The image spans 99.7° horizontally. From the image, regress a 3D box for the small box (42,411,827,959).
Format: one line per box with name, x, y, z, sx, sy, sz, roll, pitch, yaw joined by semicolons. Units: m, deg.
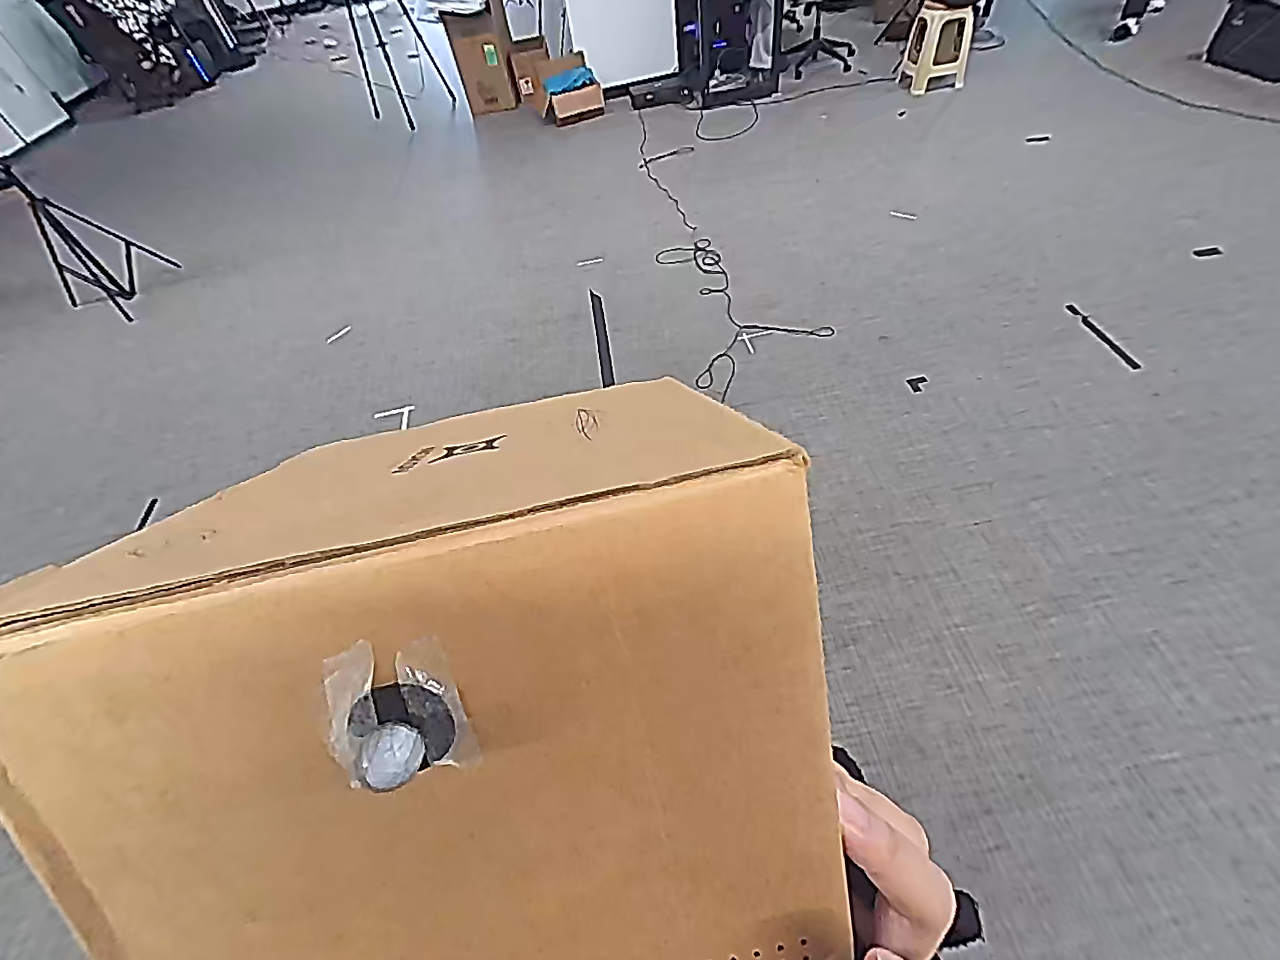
small box;-0.043;0.080;0.220;0.179;0.176;0.168;-12;16;-3
